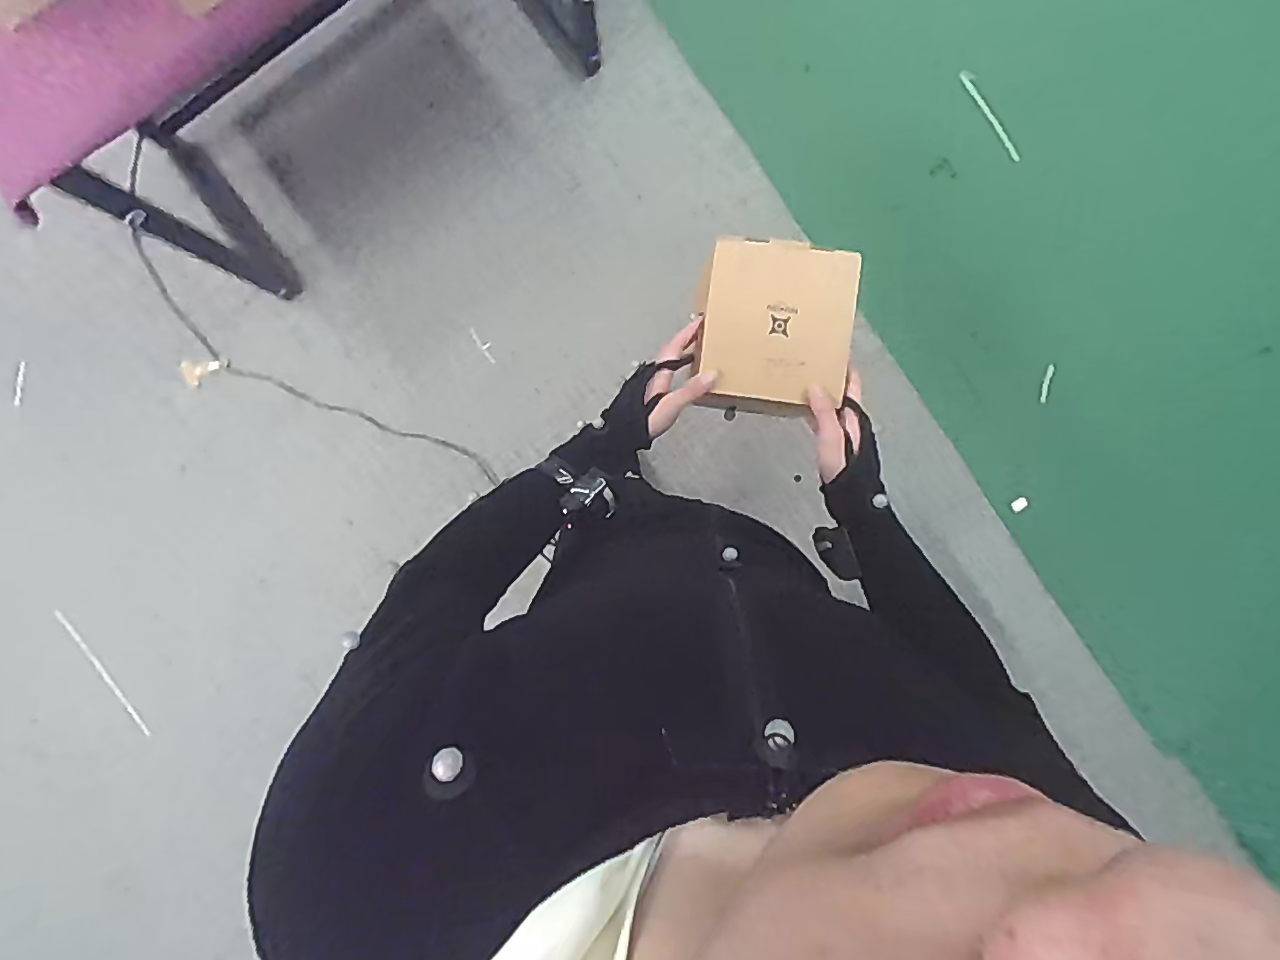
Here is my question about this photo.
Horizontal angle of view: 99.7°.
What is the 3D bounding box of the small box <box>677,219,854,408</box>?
[{"bbox_3d":[0.141,-0.191,0.670,0.168,0.176,0.179,6,93,-2],"label":"small box"}]
